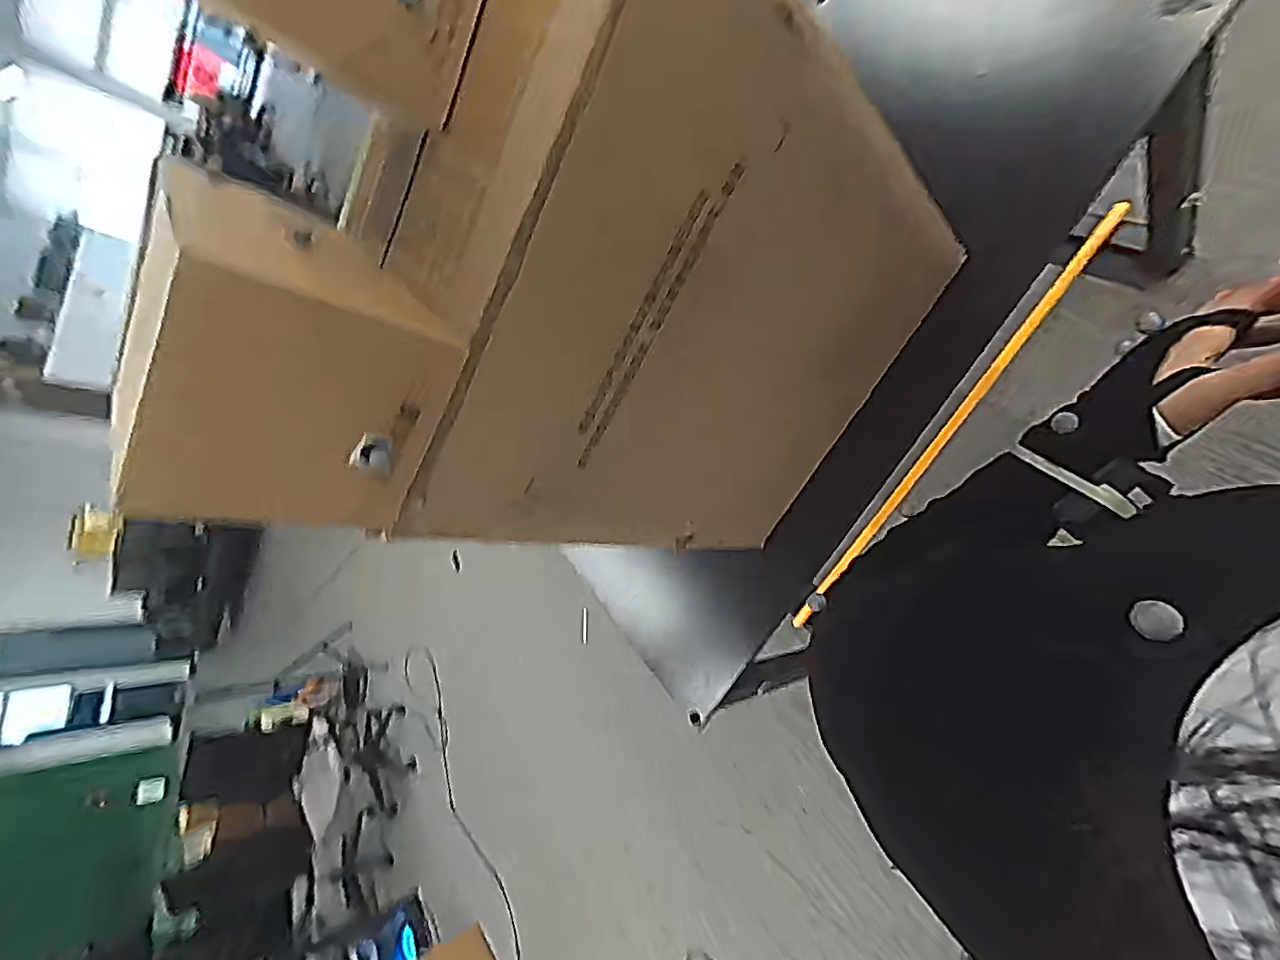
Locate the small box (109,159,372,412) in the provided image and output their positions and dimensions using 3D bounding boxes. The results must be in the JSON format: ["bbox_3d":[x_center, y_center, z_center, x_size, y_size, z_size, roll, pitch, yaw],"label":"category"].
[{"bbox_3d":[-0.394,-0.185,0.542,0.179,0.176,0.168,43,113,41],"label":"small box"}]

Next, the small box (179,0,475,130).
[{"bbox_3d":[-0.241,-0.410,0.427,0.179,0.176,0.168,42,114,40],"label":"small box"}]
